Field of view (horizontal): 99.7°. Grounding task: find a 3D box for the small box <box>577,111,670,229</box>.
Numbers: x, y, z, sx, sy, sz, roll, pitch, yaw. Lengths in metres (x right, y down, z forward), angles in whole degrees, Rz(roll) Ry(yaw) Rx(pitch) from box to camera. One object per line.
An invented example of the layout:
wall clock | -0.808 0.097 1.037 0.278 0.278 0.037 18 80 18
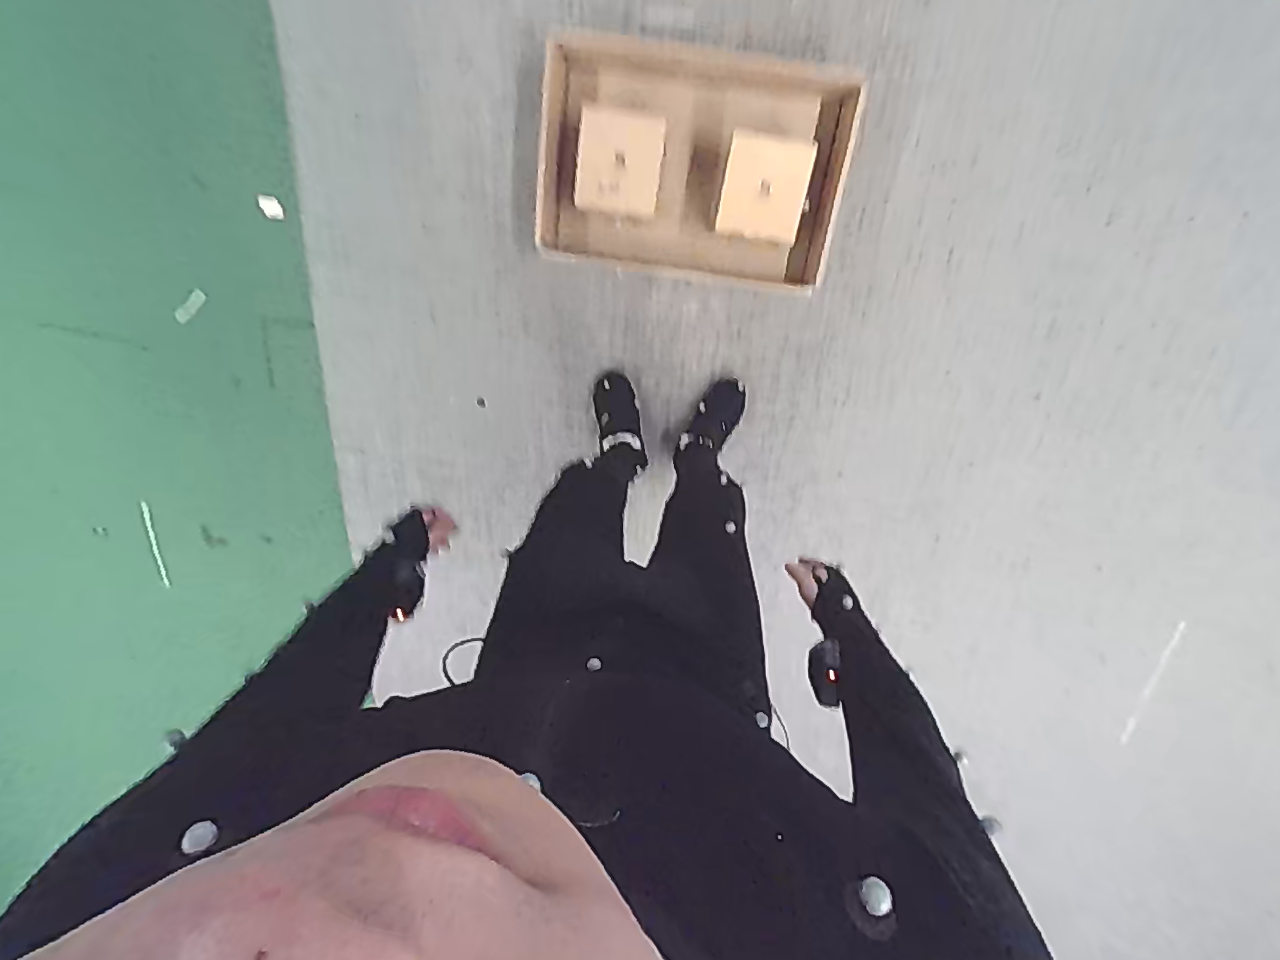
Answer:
small box | -0.032 -0.645 1.144 0.168 0.176 0.179 9 111 1
